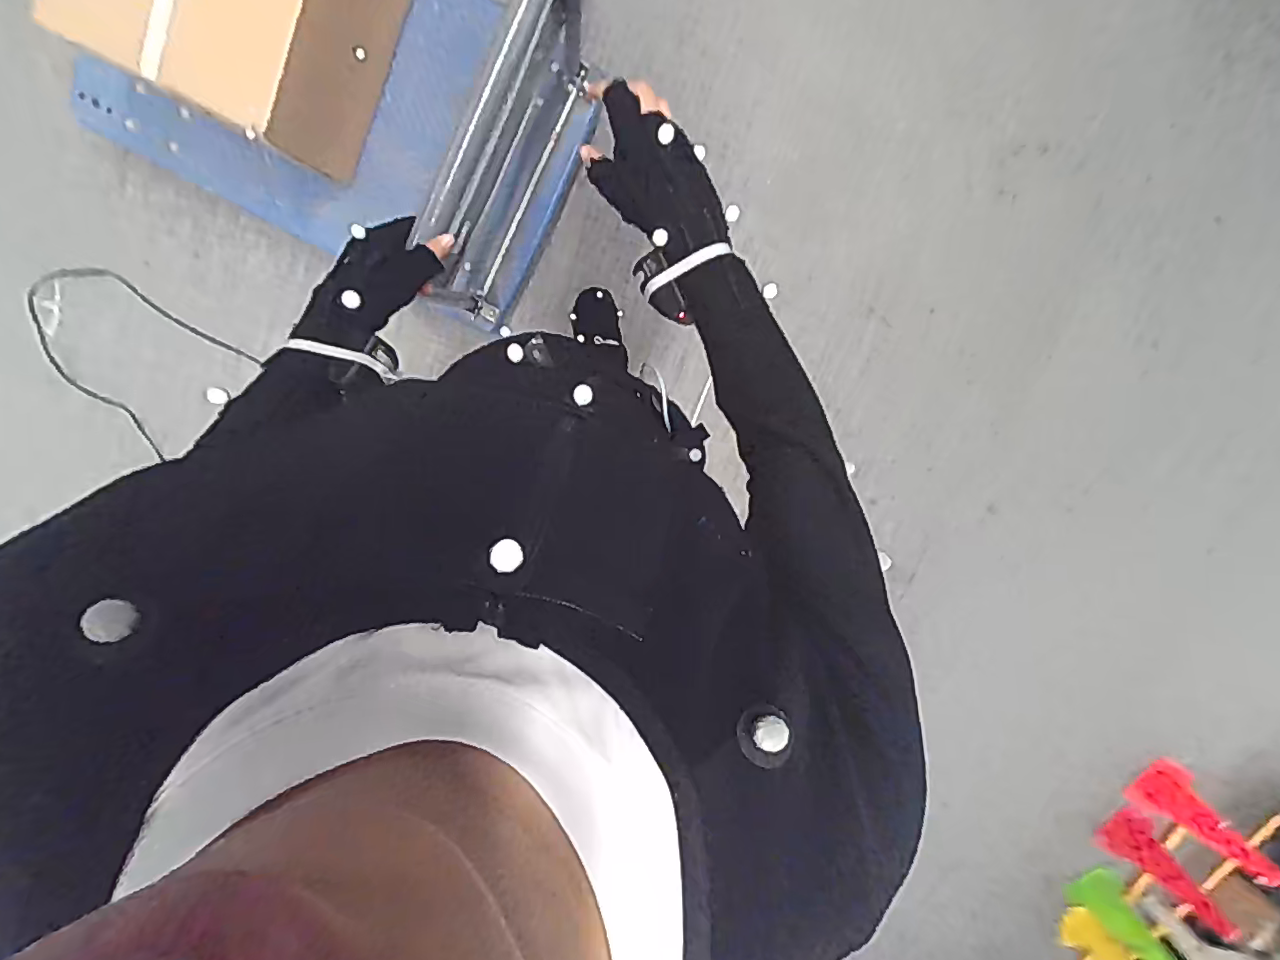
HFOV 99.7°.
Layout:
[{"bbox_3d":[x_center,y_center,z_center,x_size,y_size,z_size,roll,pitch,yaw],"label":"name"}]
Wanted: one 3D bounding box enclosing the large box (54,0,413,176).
[{"bbox_3d":[-0.610,-0.801,0.880,0.320,0.320,0.408,25,103,-11],"label":"large box"}]
